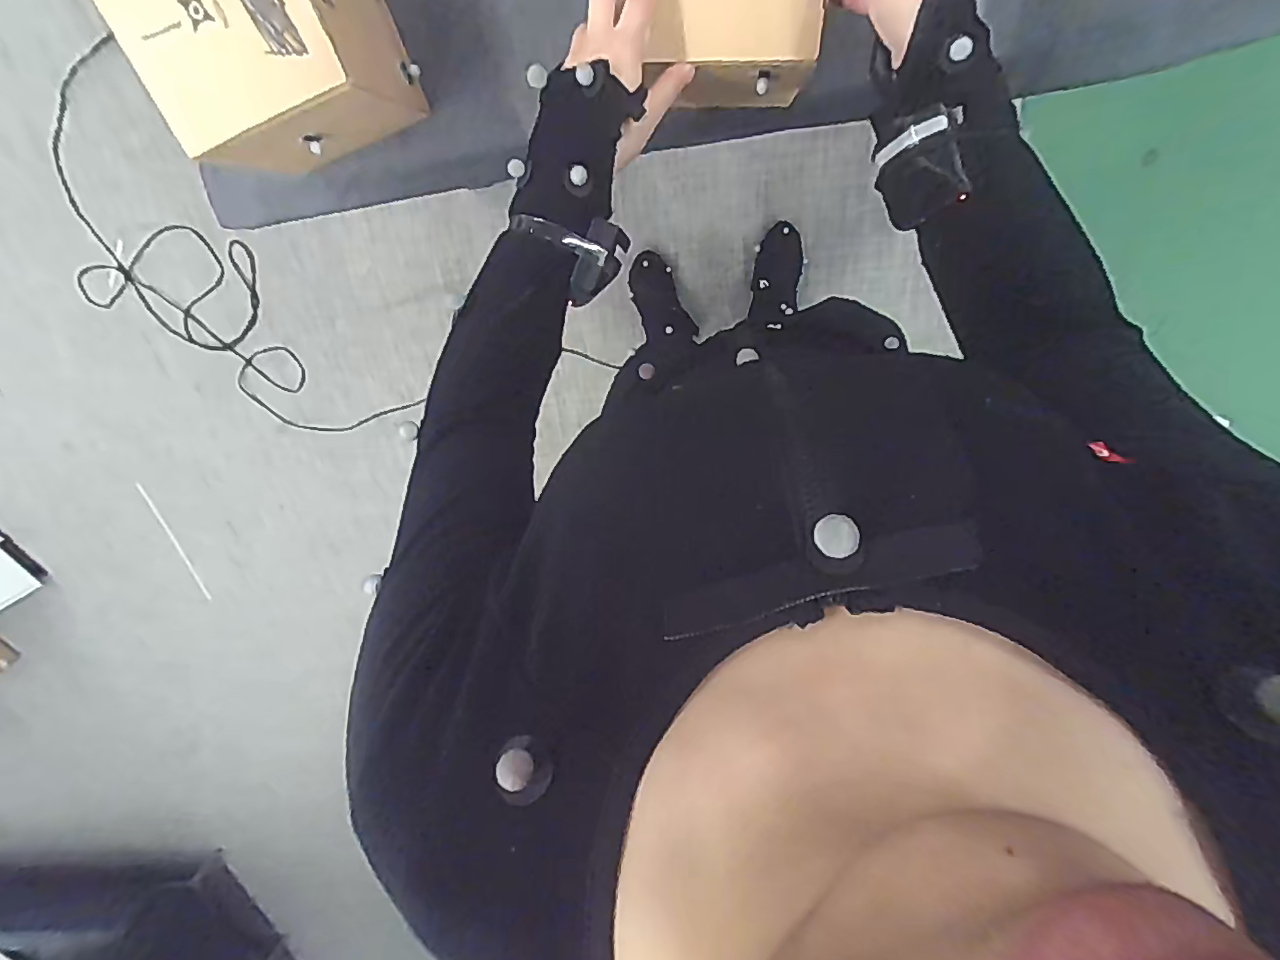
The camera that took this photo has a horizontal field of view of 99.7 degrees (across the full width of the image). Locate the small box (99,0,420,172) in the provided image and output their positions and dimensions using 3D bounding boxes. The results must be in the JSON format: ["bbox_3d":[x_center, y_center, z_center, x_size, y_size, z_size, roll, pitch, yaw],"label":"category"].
[{"bbox_3d":[-0.336,-0.410,0.509,0.179,0.176,0.168,-15,115,12],"label":"small box"}]

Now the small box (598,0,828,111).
[{"bbox_3d":[0.063,-0.430,0.465,0.179,0.176,0.168,3,116,5],"label":"small box"}]
